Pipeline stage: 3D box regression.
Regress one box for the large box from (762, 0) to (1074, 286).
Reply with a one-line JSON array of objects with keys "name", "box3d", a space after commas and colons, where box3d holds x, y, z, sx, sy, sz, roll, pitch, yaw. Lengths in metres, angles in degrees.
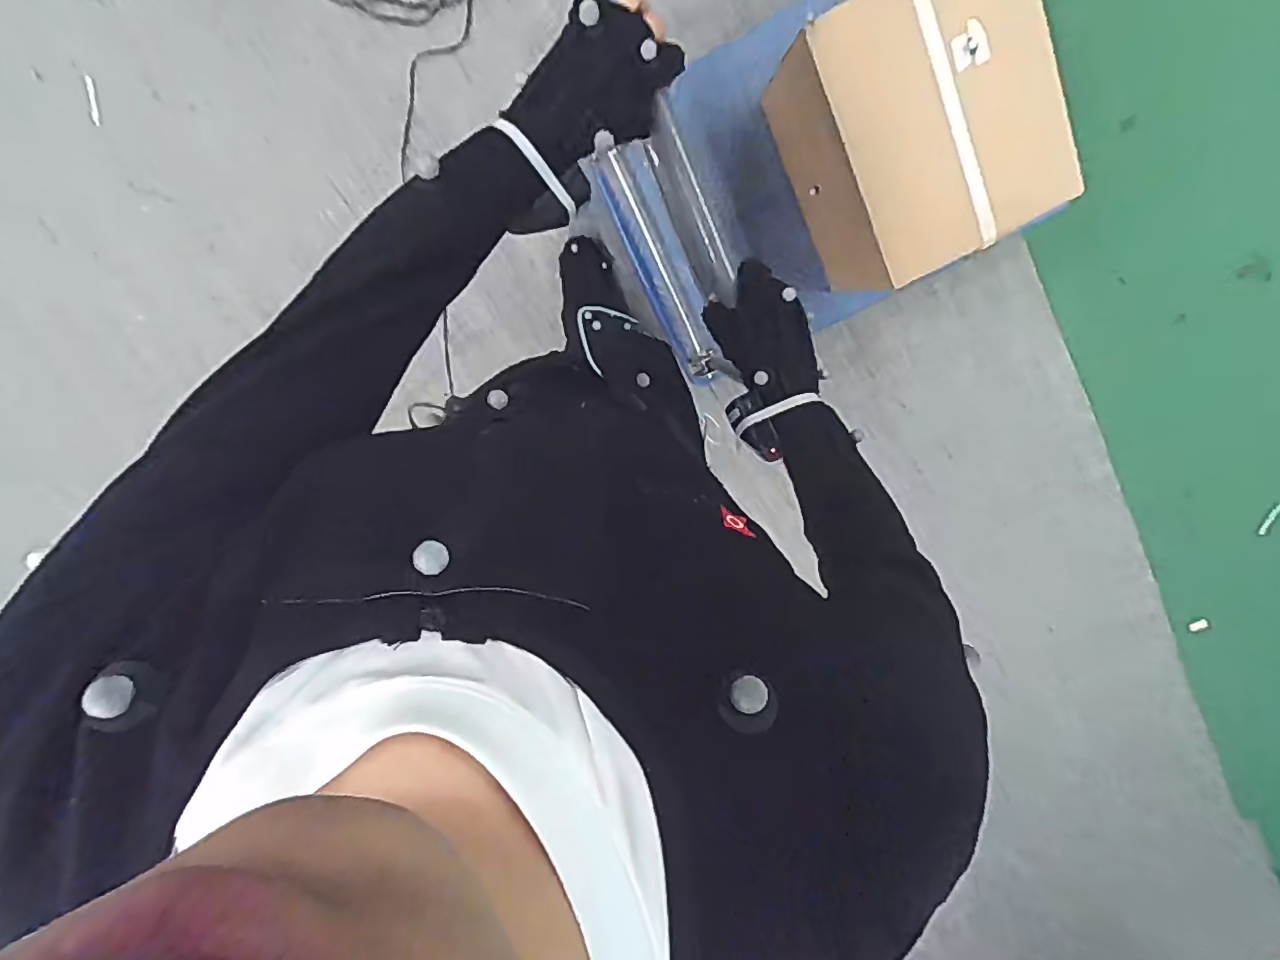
[{"name": "large box", "box3d": [0.459, -0.604, 0.958, 0.320, 0.320, 0.408, -26, 106, 8]}]
